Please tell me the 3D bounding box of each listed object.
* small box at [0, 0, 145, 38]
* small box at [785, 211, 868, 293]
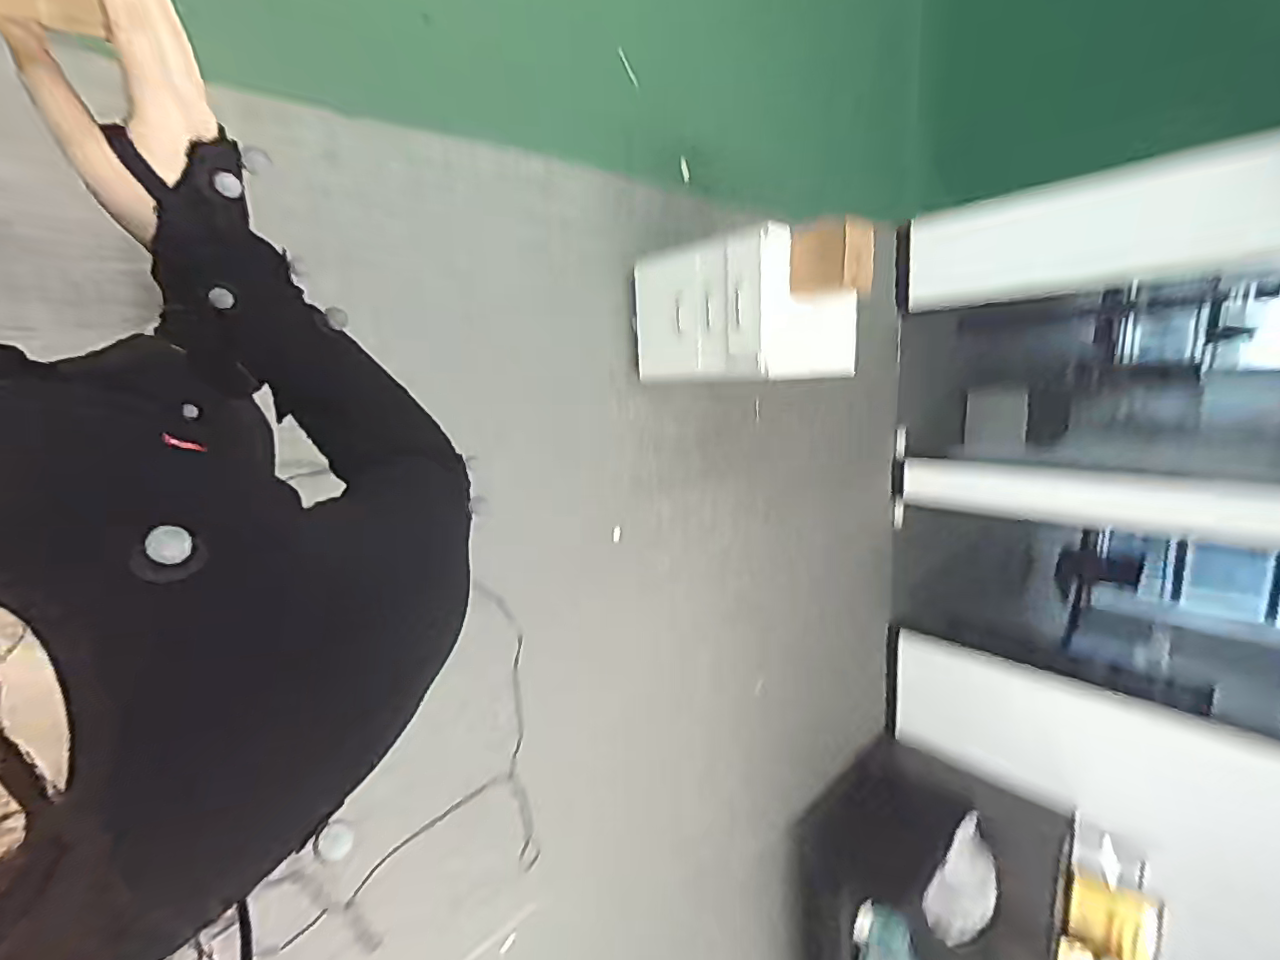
[{"bbox_3d":[-0.286,-0.259,0.158,0.179,0.176,0.168,-5,124,-33],"label":"small box"},{"bbox_3d":[0.529,-0.641,1.539,0.168,0.176,0.179,-14,106,-41],"label":"small box"}]
